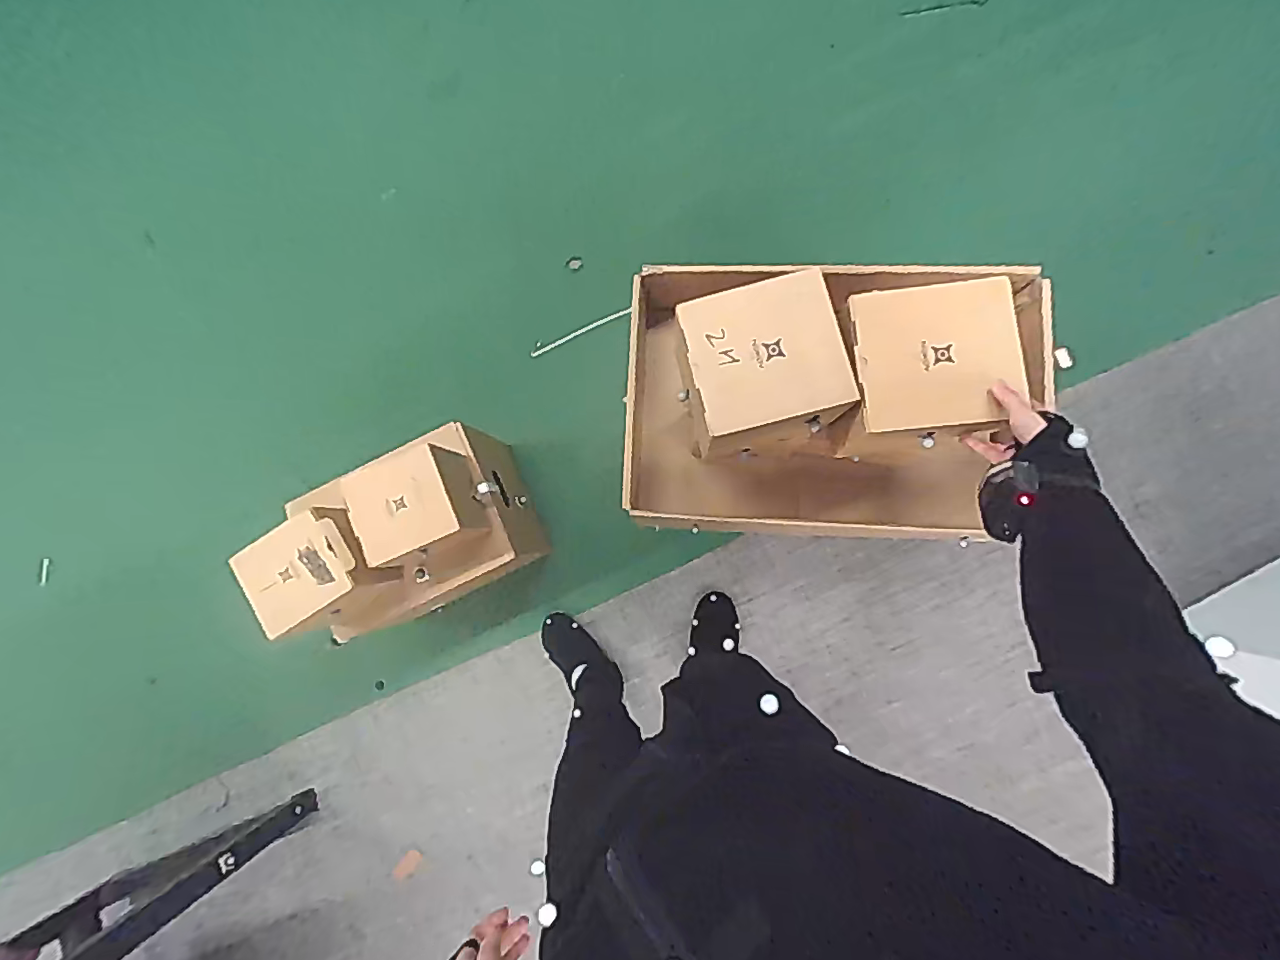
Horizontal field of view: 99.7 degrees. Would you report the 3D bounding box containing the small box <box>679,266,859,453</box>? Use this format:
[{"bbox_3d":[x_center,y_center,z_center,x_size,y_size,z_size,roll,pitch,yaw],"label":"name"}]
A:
[{"bbox_3d":[0.151,-0.142,0.699,0.179,0.176,0.168,-14,83,3],"label":"small box"}]

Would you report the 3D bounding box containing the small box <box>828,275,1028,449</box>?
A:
[{"bbox_3d":[0.343,-0.136,0.685,0.179,0.176,0.168,-5,84,7],"label":"small box"}]
